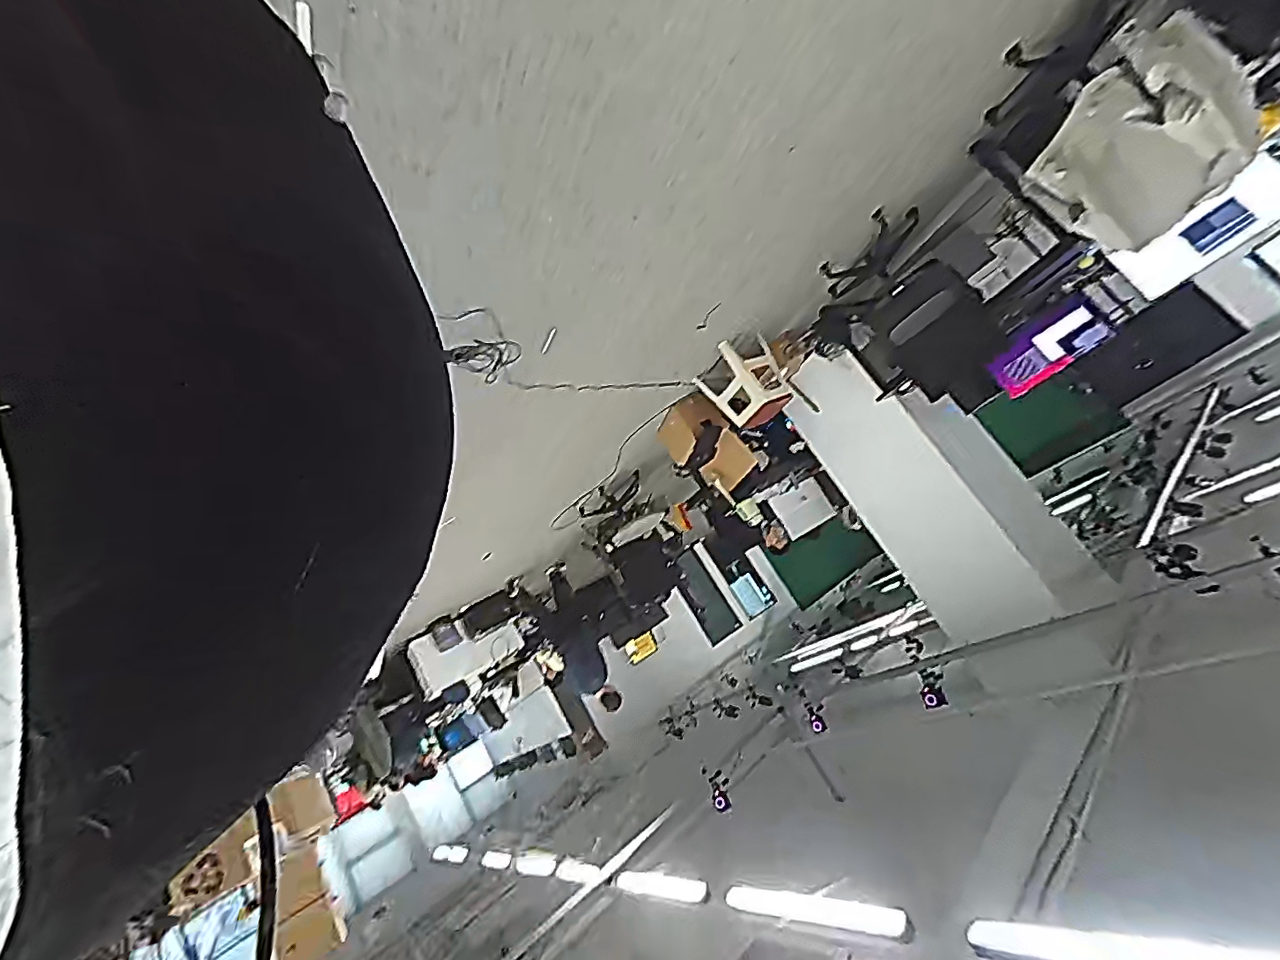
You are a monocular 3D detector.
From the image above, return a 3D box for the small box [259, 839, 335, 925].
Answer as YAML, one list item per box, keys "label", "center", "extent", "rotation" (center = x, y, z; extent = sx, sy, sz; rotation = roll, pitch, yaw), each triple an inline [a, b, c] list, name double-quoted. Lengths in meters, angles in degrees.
- label: "small box"
  center: [-1.194, 1.390, 1.890]
  extent: [0.179, 0.176, 0.168]
  rotation: [-22, 164, -33]

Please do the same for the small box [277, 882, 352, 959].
- label: "small box"
  center: [-1.113, 1.526, 1.849]
  extent: [0.179, 0.176, 0.168]
  rotation: [-22, 166, -31]
